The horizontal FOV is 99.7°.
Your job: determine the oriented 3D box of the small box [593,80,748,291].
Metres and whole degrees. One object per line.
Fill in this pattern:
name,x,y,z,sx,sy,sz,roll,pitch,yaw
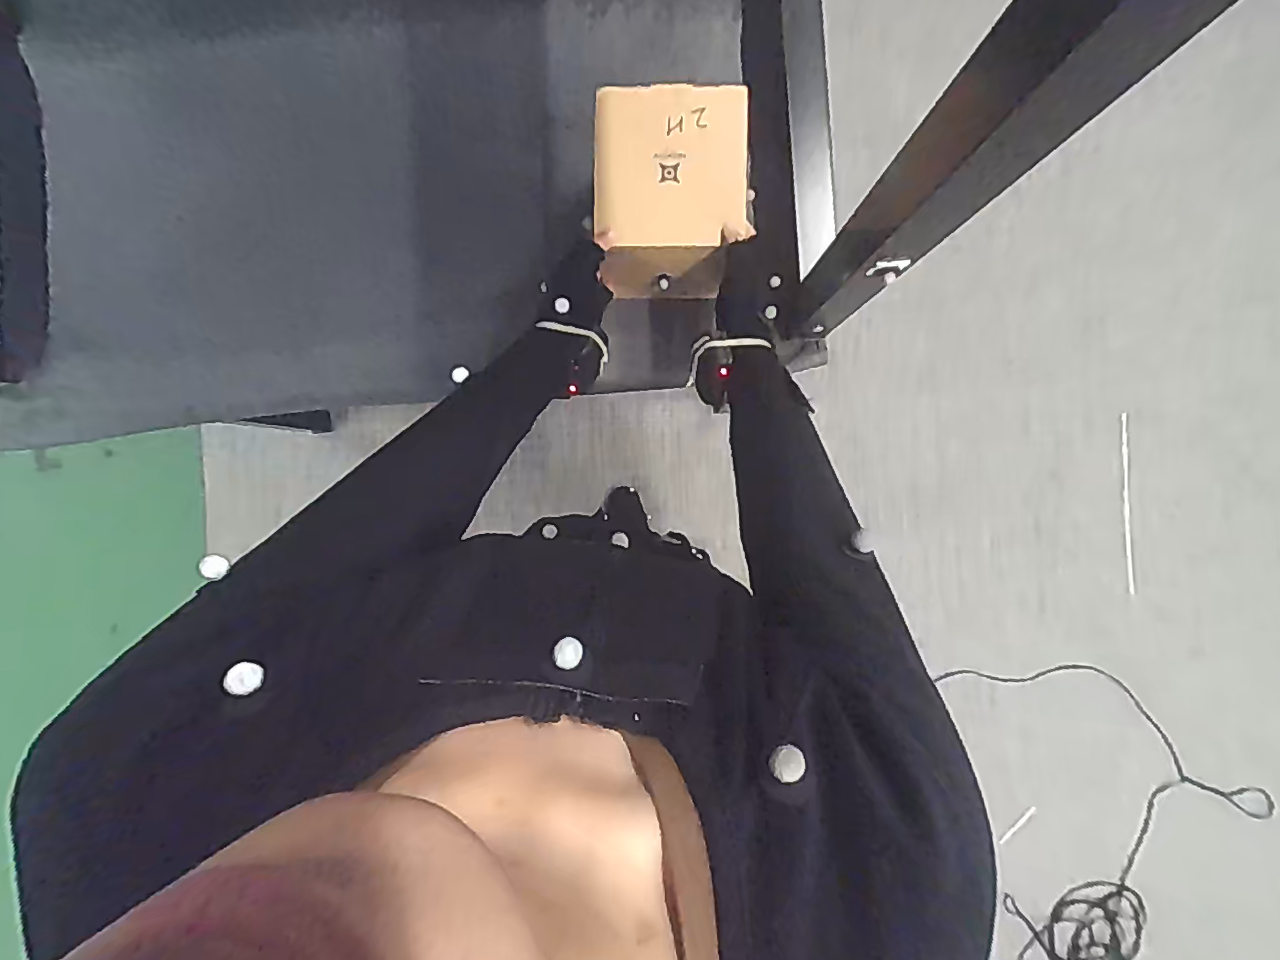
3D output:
small box,0.036,-0.341,0.660,0.168,0.176,0.179,1,90,2
